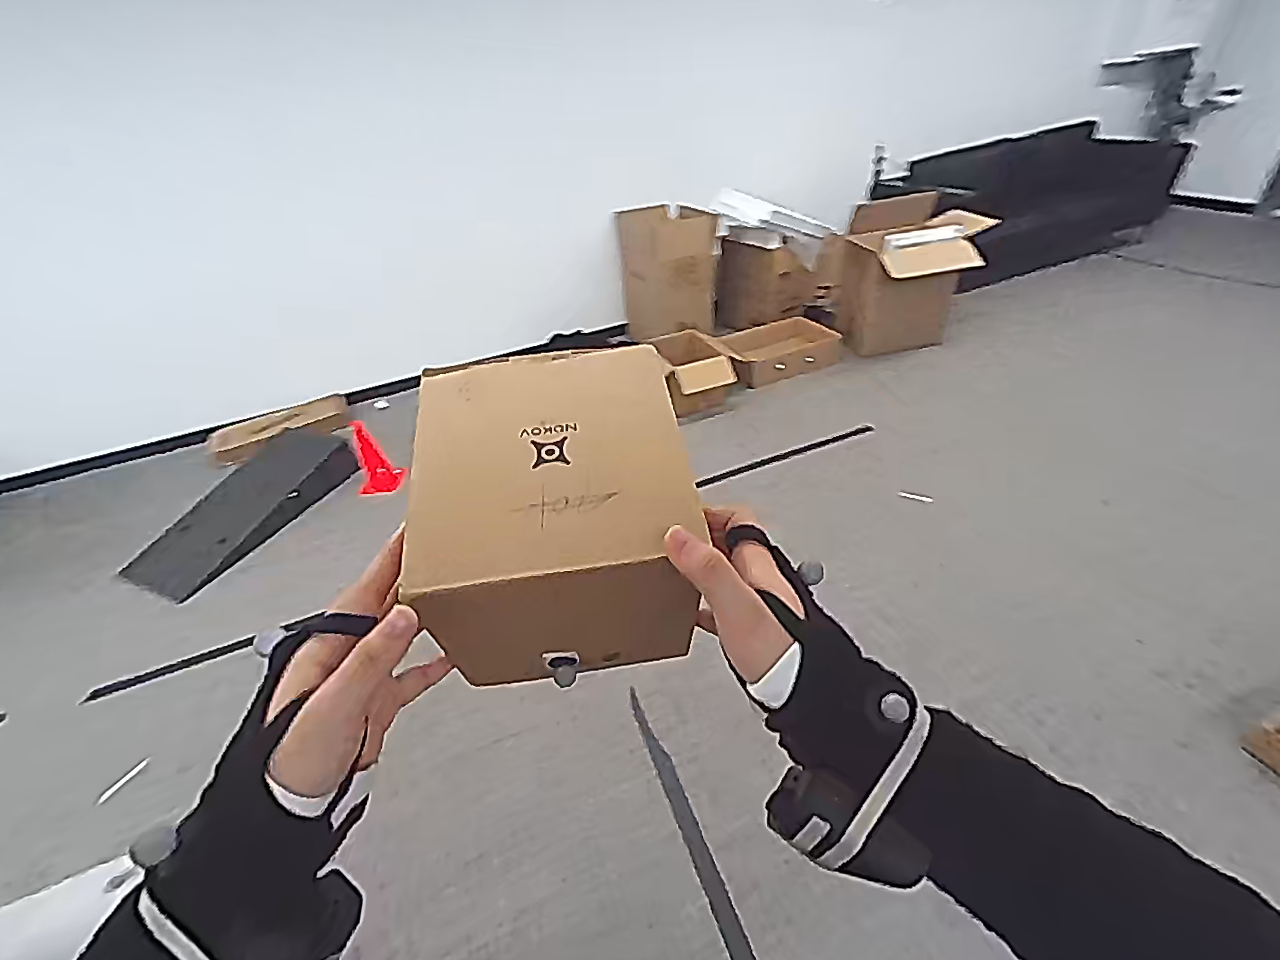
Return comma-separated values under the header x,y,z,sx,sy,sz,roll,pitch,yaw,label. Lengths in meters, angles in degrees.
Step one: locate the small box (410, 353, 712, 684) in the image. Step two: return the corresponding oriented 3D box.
x,y,z,sx,sy,sz,roll,pitch,yaw,label
-0.053,0.031,0.403,0.168,0.176,0.179,-7,54,-5,small box
